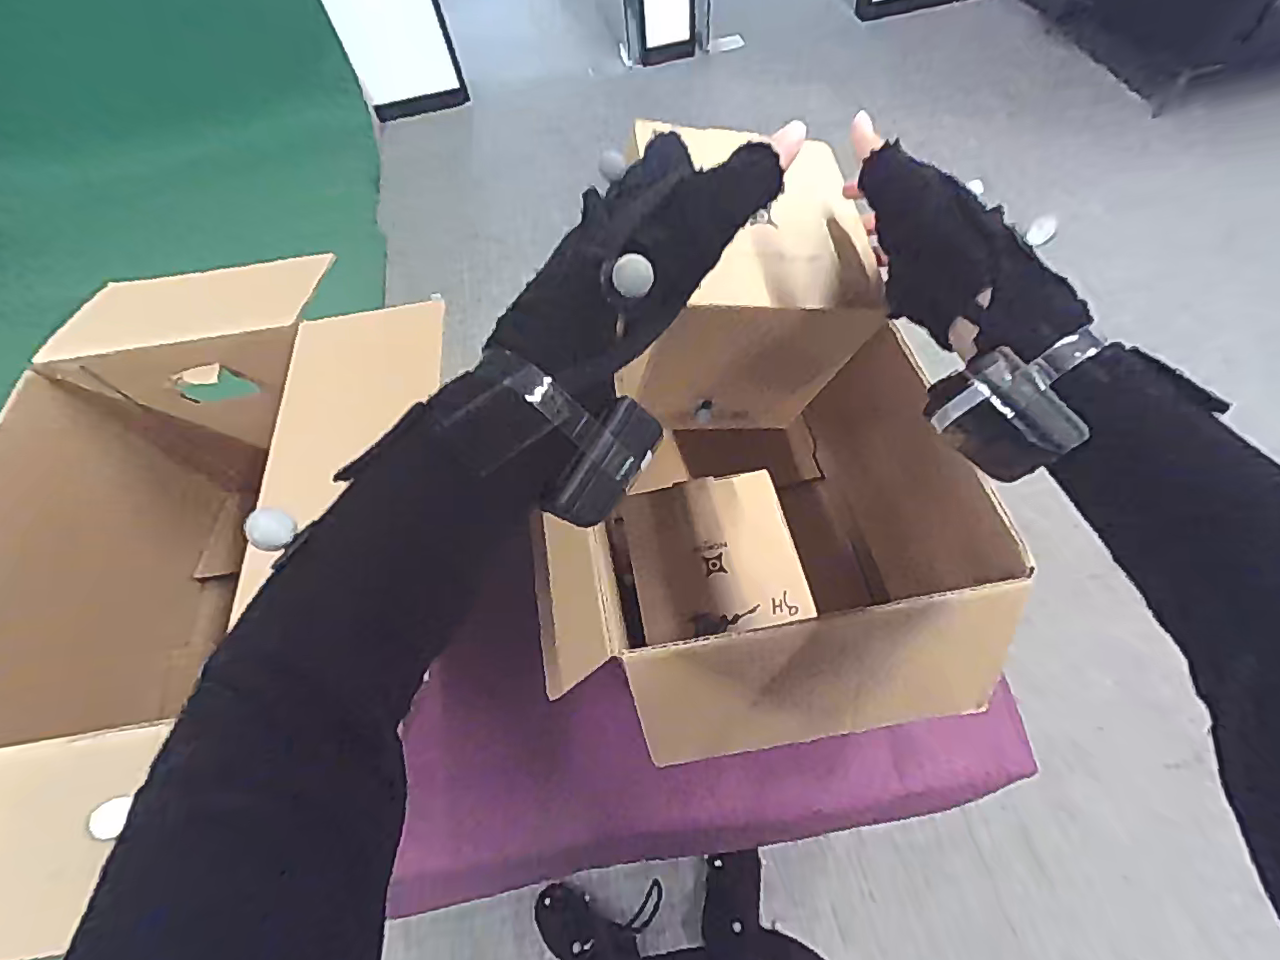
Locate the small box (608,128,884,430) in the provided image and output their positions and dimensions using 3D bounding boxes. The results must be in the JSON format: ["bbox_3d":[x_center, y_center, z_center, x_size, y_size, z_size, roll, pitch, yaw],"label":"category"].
[{"bbox_3d":[0.070,-0.161,0.471,0.168,0.176,0.179,-2,66,-13],"label":"small box"}]
